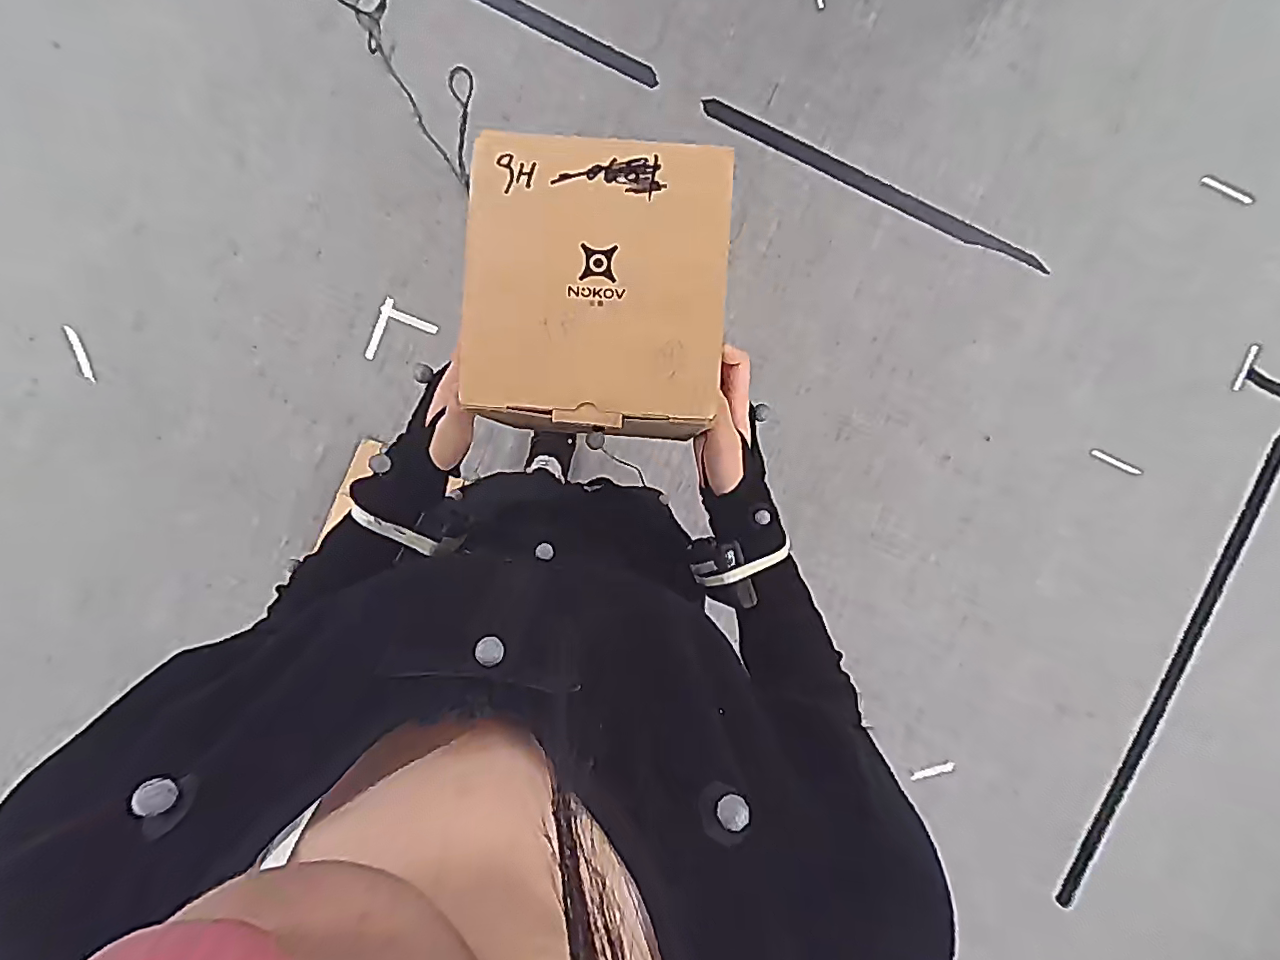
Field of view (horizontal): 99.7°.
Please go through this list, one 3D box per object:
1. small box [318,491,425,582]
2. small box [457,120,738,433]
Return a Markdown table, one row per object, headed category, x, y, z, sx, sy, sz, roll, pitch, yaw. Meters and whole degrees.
| category | x | y | z | sx | sy | sz | roll | pitch | yaw |
| --- | --- | --- | --- | --- | --- | --- | --- | --- | --- |
| small box | -0.672 | 0.134 | 1.377 | 0.168 | 0.176 | 0.179 | 21 | 92 | -3 |
| small box | -0.028 | -0.130 | 0.411 | 0.168 | 0.176 | 0.179 | 4 | 91 | -2 |
